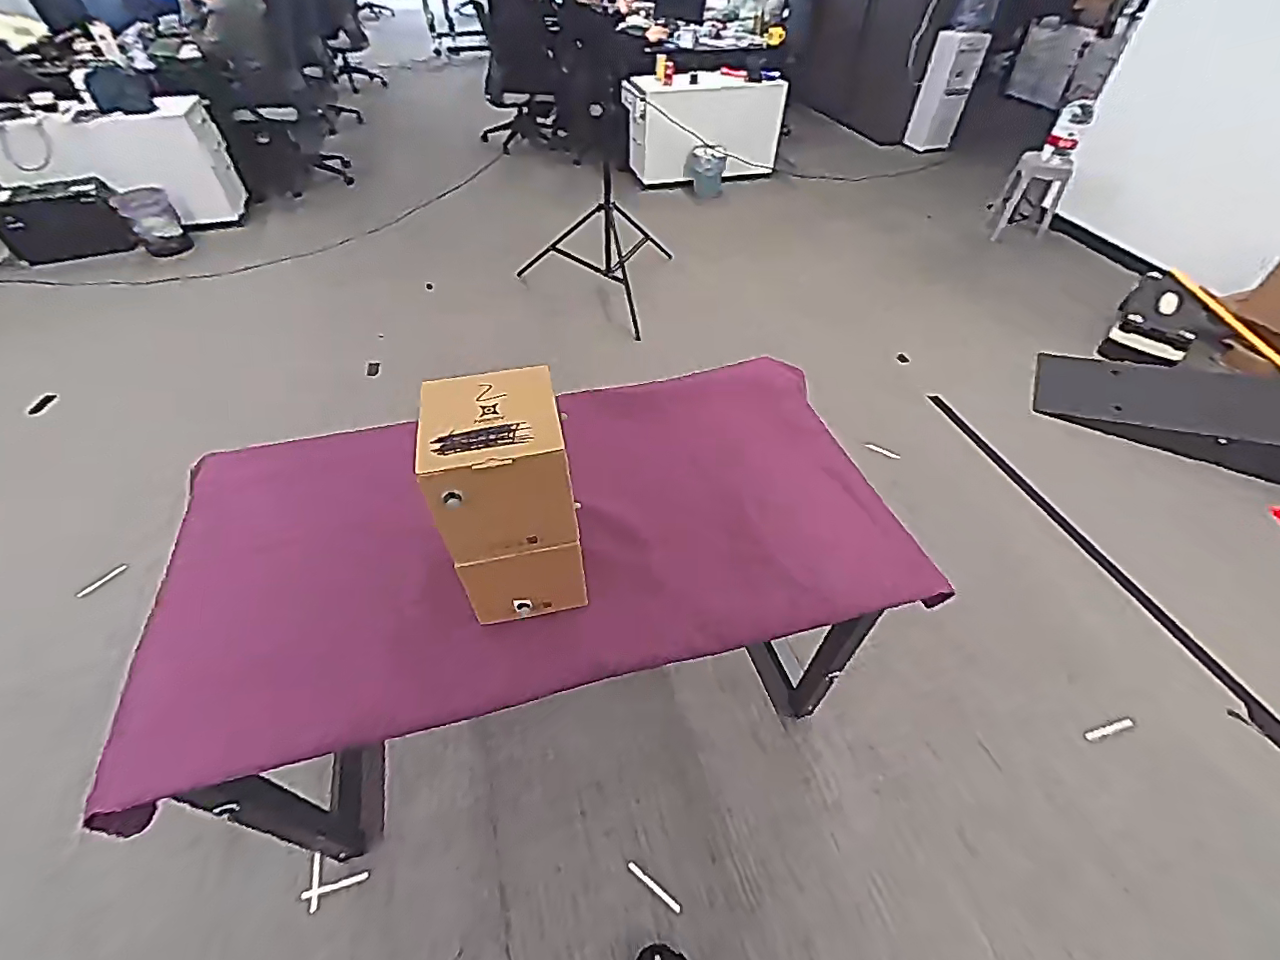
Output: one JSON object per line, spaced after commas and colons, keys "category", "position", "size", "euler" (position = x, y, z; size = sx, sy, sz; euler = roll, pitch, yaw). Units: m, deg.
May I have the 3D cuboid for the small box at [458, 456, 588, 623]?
{"category": "small box", "position": [-0.177, 0.091, 0.830], "size": [0.168, 0.176, 0.179], "euler": [-10, 49, -9]}
